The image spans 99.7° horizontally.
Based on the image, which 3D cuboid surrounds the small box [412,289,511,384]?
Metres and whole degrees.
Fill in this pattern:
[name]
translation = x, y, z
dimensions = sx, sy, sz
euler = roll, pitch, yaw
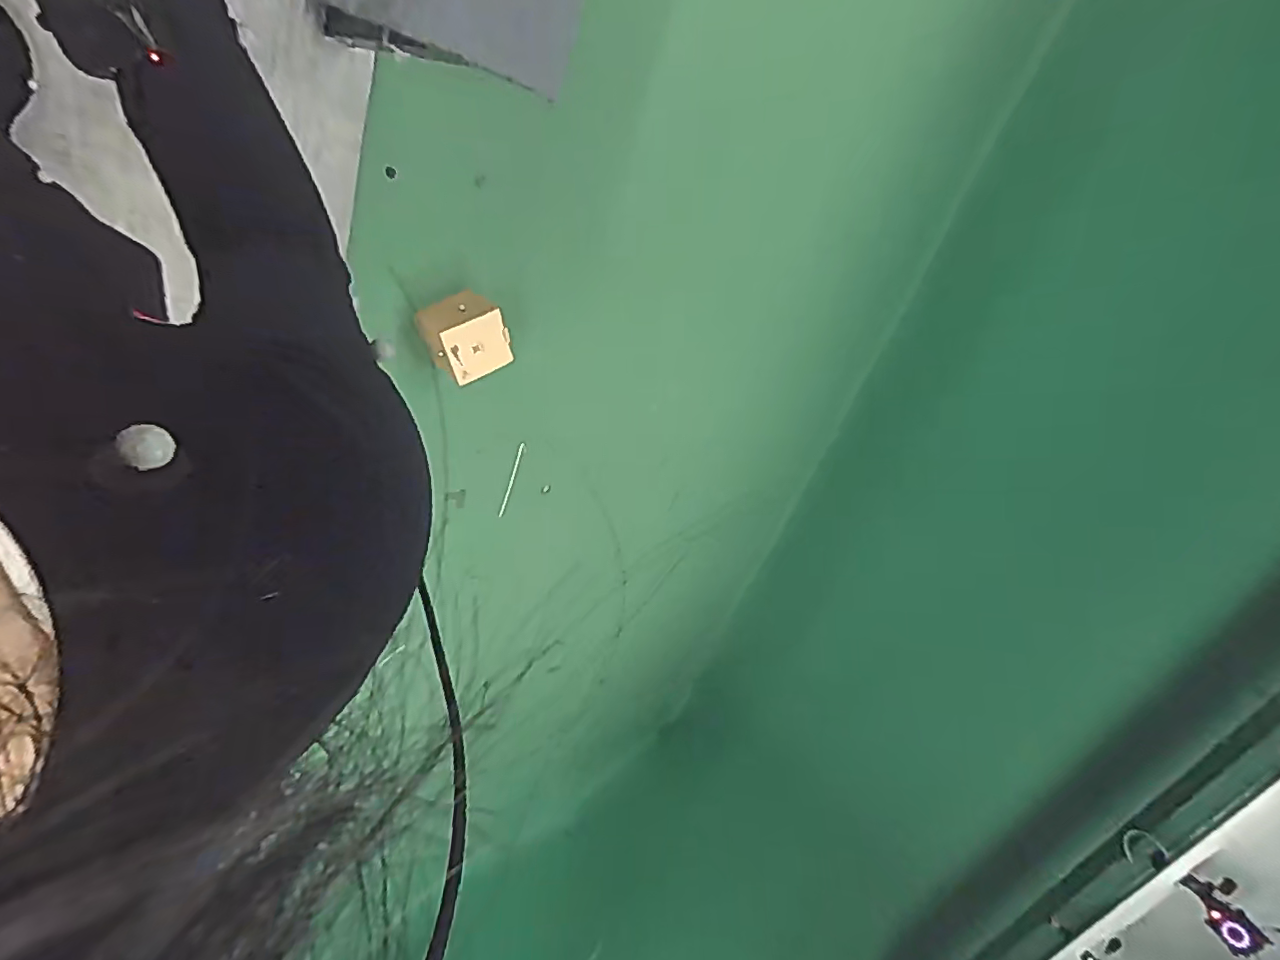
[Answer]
[small box]
translation = -0.486, -0.399, 1.480
dimensions = 0.179, 0.176, 0.168
euler = -34, 142, -24
